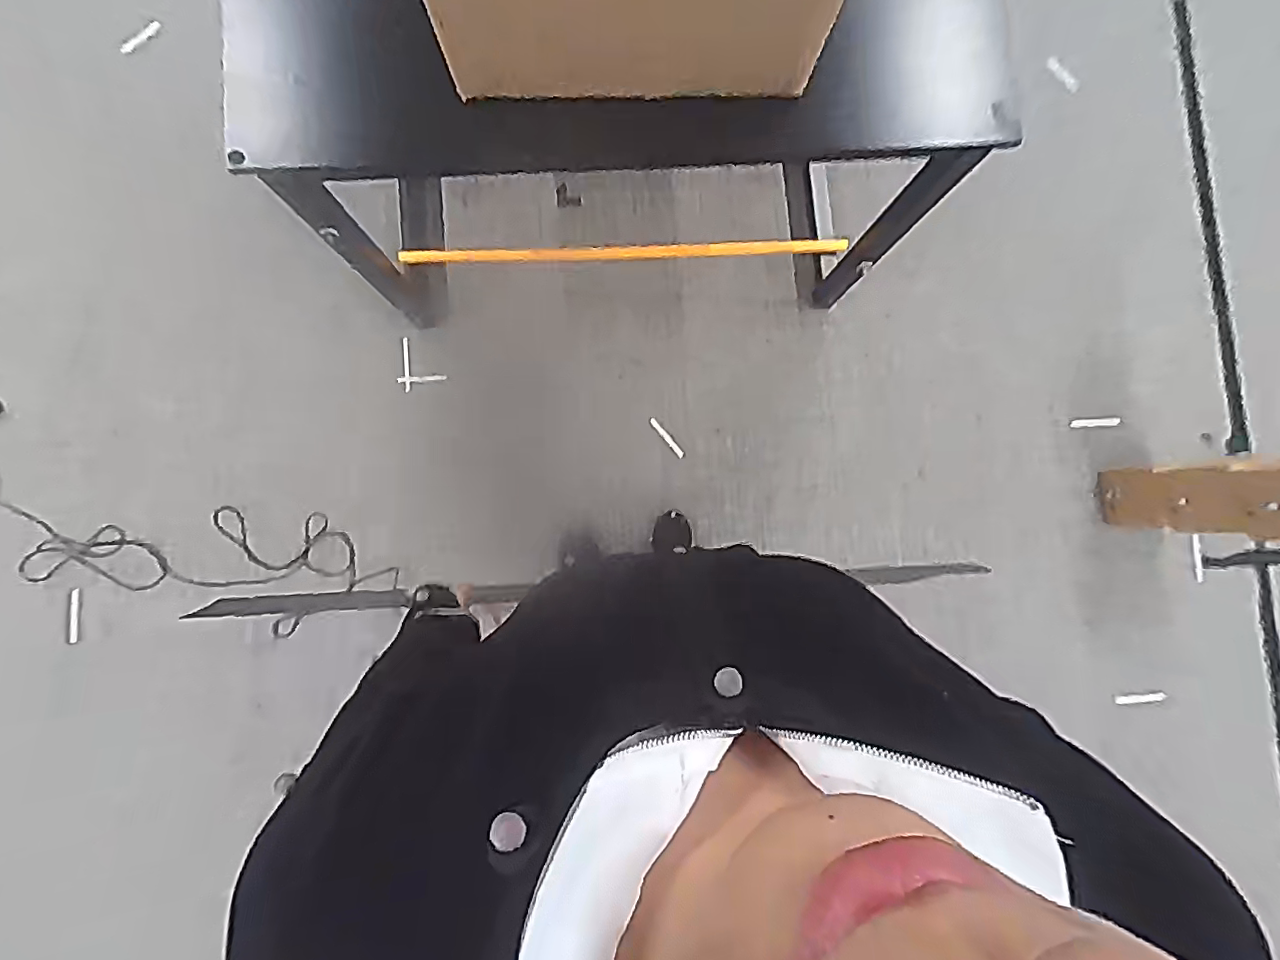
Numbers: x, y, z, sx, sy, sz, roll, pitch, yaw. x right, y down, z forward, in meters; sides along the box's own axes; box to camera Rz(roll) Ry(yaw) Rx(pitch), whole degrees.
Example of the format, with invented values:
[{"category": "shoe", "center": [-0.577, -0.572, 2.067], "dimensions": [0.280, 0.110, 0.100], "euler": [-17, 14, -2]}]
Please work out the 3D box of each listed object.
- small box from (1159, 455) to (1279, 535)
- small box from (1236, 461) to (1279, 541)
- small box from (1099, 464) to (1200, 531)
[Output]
[{"category": "small box", "center": [1.459, 0.038, 1.336], "dimensions": [0.179, 0.176, 0.168], "euler": [-11, 85, -4]}, {"category": "small box", "center": [1.465, 0.038, 1.172], "dimensions": [0.179, 0.176, 0.168], "euler": [-13, 86, -4]}, {"category": "small box", "center": [1.438, 0.048, 1.500], "dimensions": [0.179, 0.176, 0.168], "euler": [-7, 85, -2]}]
